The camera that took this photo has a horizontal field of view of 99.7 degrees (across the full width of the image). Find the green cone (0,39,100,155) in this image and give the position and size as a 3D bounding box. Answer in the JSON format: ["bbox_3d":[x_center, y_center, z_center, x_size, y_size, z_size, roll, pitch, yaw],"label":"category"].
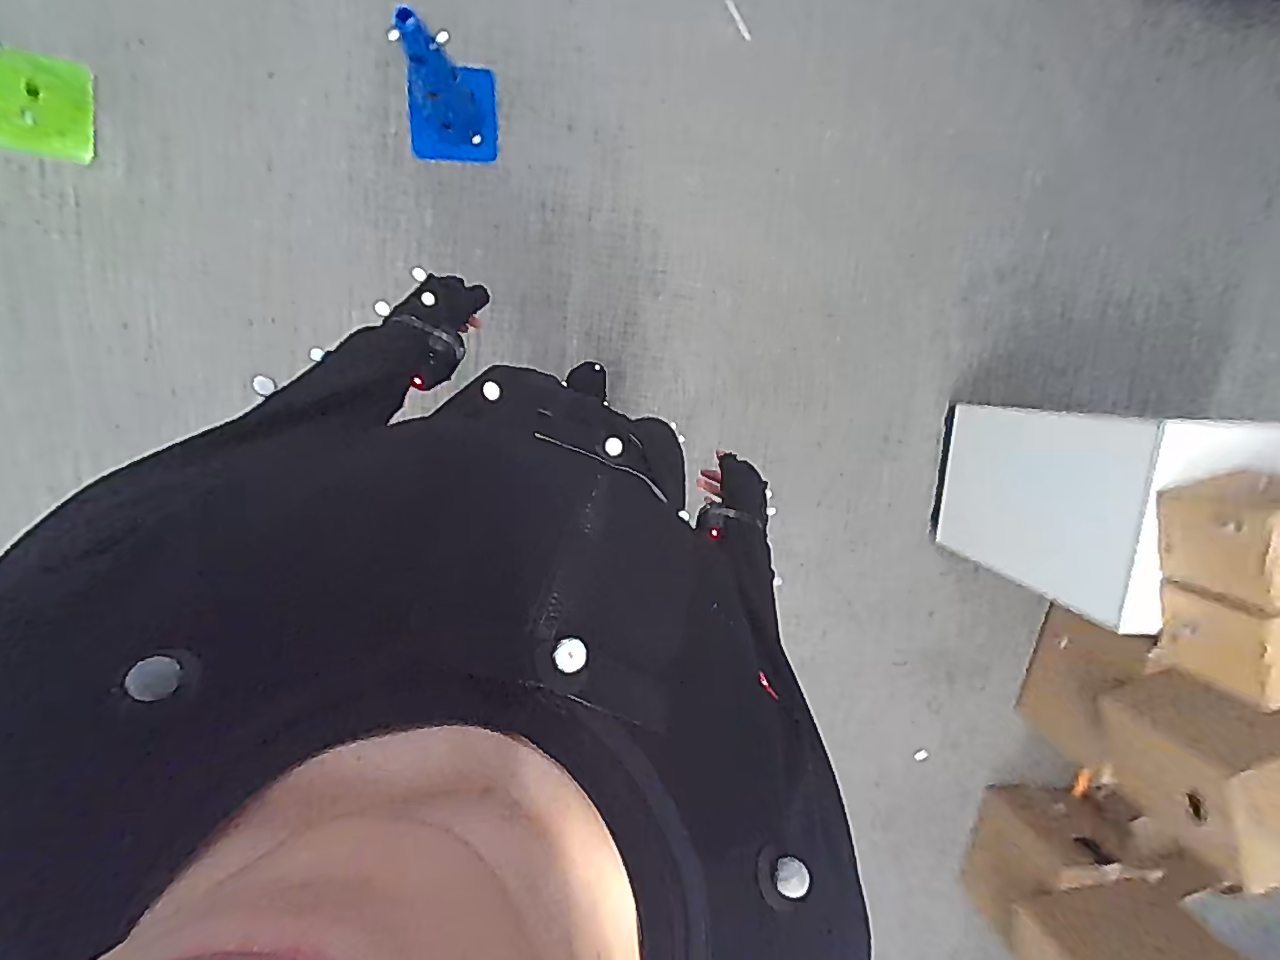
[{"bbox_3d":[-1.276,-0.800,1.012,0.202,0.368,0.200,7,100,-8],"label":"green cone"}]
